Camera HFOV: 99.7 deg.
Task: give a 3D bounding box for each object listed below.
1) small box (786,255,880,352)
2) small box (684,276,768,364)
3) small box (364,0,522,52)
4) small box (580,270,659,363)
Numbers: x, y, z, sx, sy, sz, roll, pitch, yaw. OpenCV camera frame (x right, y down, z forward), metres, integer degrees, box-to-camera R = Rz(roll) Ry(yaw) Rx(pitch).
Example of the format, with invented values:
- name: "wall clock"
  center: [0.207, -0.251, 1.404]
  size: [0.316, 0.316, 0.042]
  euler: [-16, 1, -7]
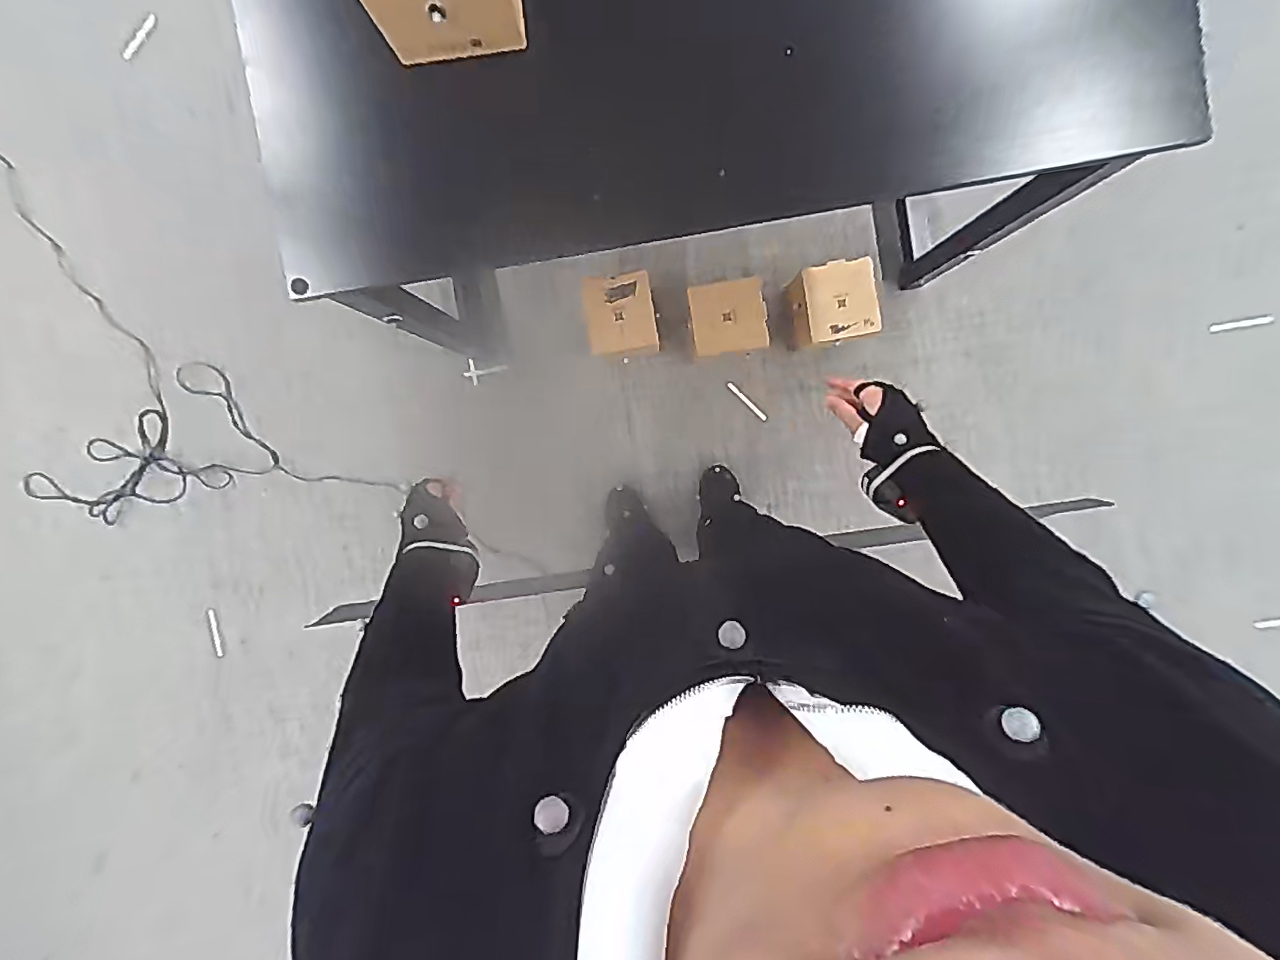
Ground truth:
- name: "small box"
  center: [0.469, -0.429, 1.339]
  size: [0.168, 0.176, 0.179]
  euler: [-10, 93, 3]
- name: "small box"
  center: [0.209, -0.394, 1.352]
  size: [0.179, 0.176, 0.168]
  euler: [-9, 94, 4]
- name: "small box"
  center: [-0.241, -0.631, 0.616]
  size: [0.168, 0.176, 0.179]
  euler: [-6, 94, 2]
- name: "small box"
  center: [-0.048, -0.404, 1.358]
  size: [0.168, 0.176, 0.179]
  euler: [-10, 95, 3]
